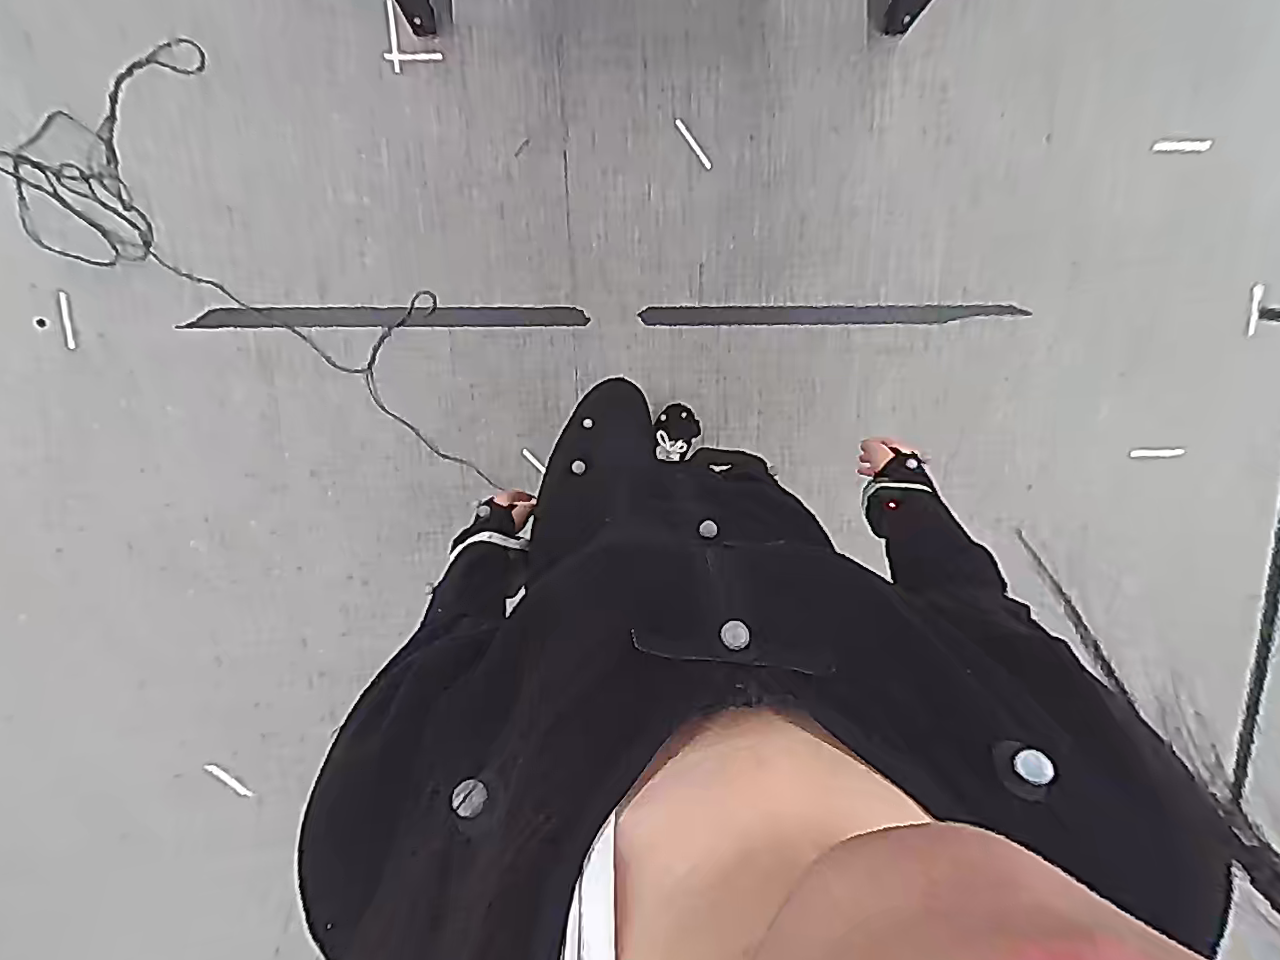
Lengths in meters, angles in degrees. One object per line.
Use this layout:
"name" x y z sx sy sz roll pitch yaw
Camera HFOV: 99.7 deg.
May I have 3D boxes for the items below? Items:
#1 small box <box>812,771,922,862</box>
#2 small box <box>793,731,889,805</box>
"small box" 0.576 0.889 1.374 0.168 0.176 0.179 -44 98 4
"small box" 0.567 0.859 1.533 0.168 0.176 0.179 -42 99 4
